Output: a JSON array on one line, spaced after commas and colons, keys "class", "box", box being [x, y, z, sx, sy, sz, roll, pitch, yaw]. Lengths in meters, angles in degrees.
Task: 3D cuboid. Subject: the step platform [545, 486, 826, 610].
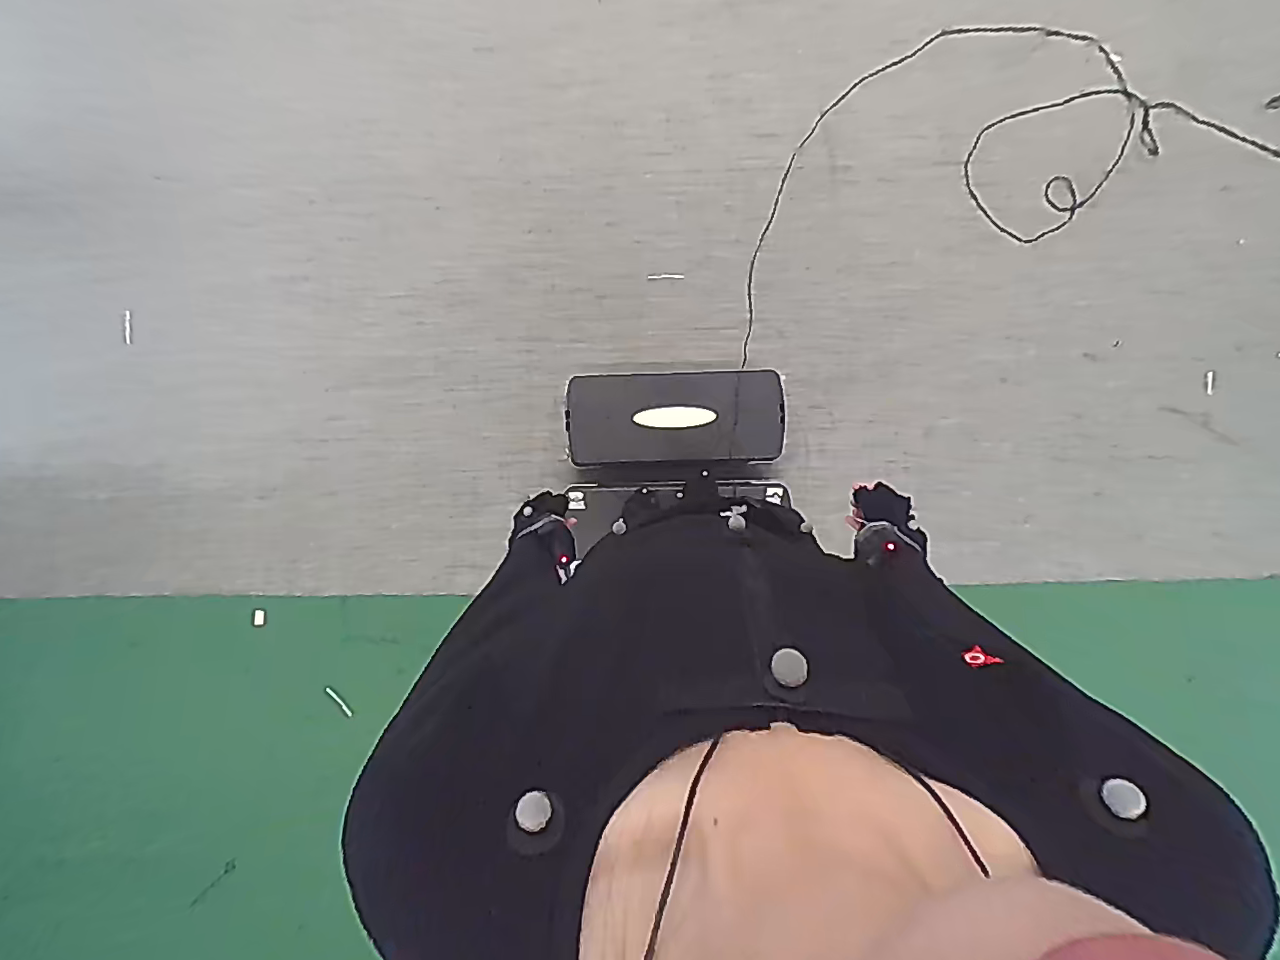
[{"class": "step platform", "box": [0.109, 0.167, 1.397, 0.684, 0.204, 0.286, -2, 89, 0]}]
